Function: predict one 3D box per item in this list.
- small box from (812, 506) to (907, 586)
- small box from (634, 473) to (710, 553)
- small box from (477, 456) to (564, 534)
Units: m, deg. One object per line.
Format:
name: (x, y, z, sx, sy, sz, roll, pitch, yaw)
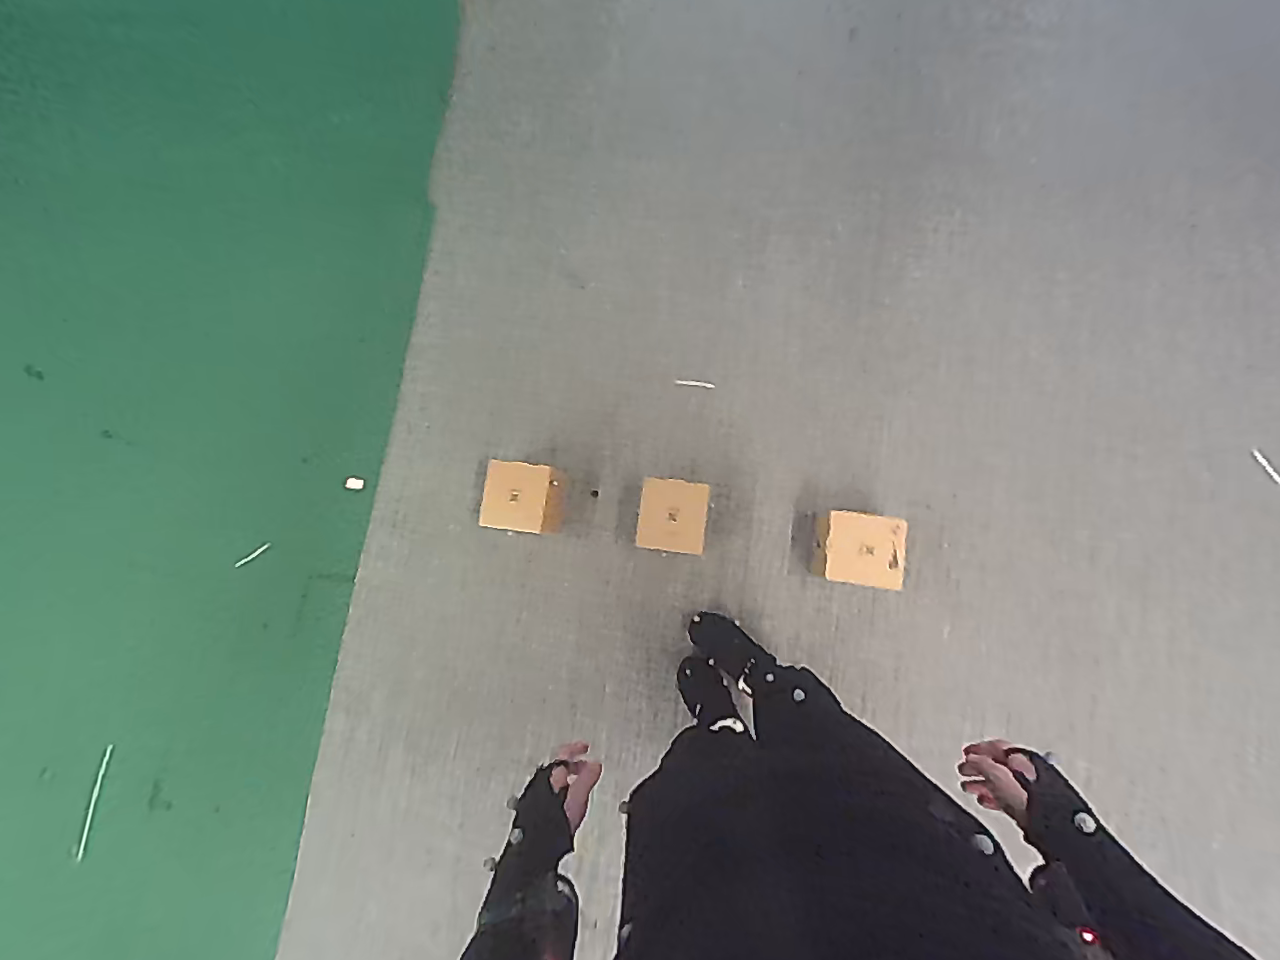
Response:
small box: (0.527, 0.163, 1.321, 0.179, 0.176, 0.168, 8, 83, 8)
small box: (0.086, 0.089, 1.384, 0.168, 0.176, 0.179, 7, 83, 8)
small box: (-0.308, 0.045, 1.434, 0.168, 0.176, 0.179, 6, 82, 8)
